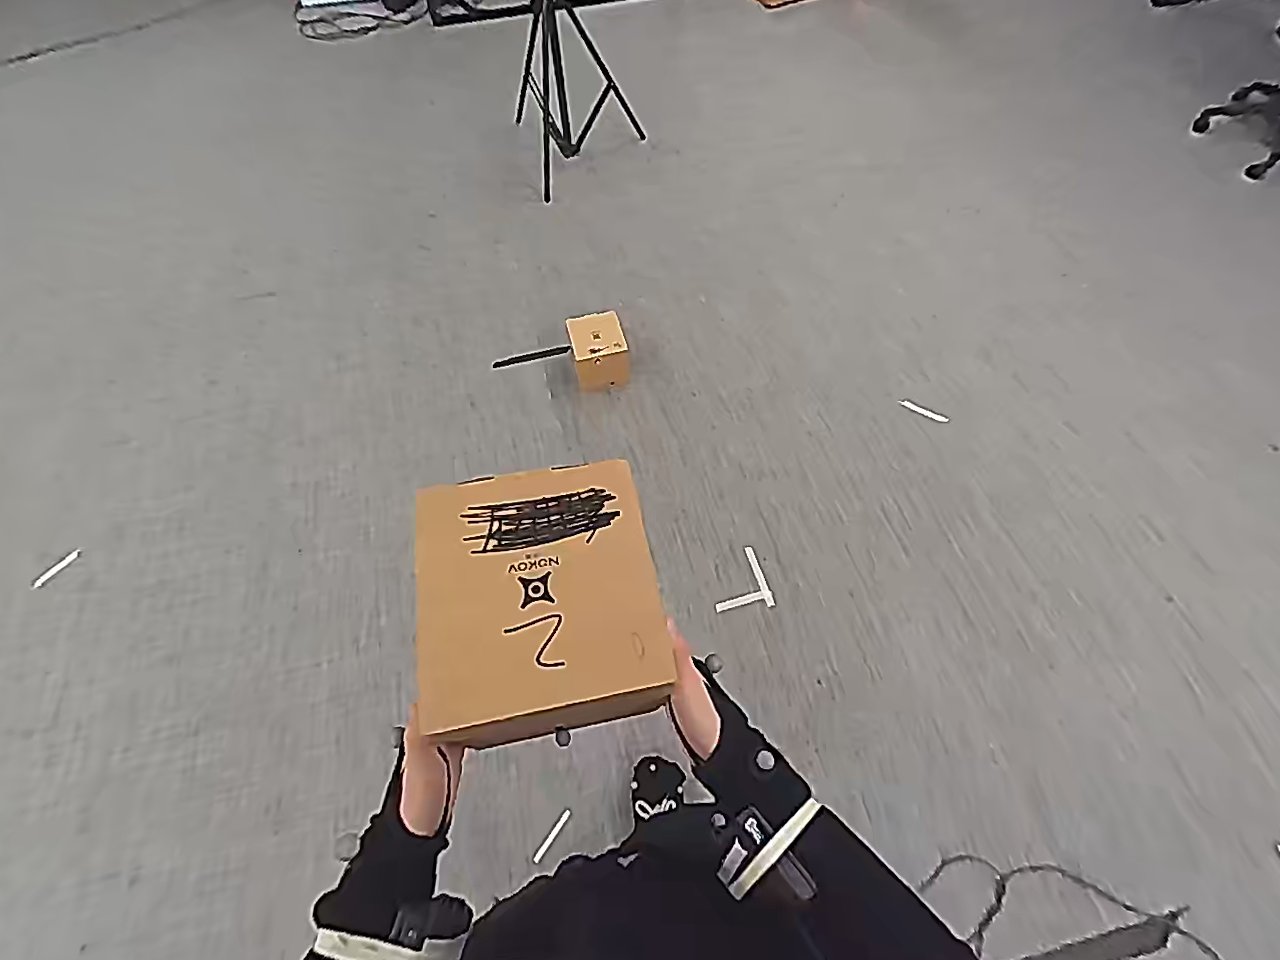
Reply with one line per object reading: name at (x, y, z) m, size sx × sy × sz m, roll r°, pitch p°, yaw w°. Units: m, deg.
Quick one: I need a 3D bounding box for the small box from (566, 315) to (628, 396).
small box at (-0.137, -0.404, 1.761) m, size 0.168 × 0.176 × 0.179 m, roll -14°, pitch 61°, yaw -7°
